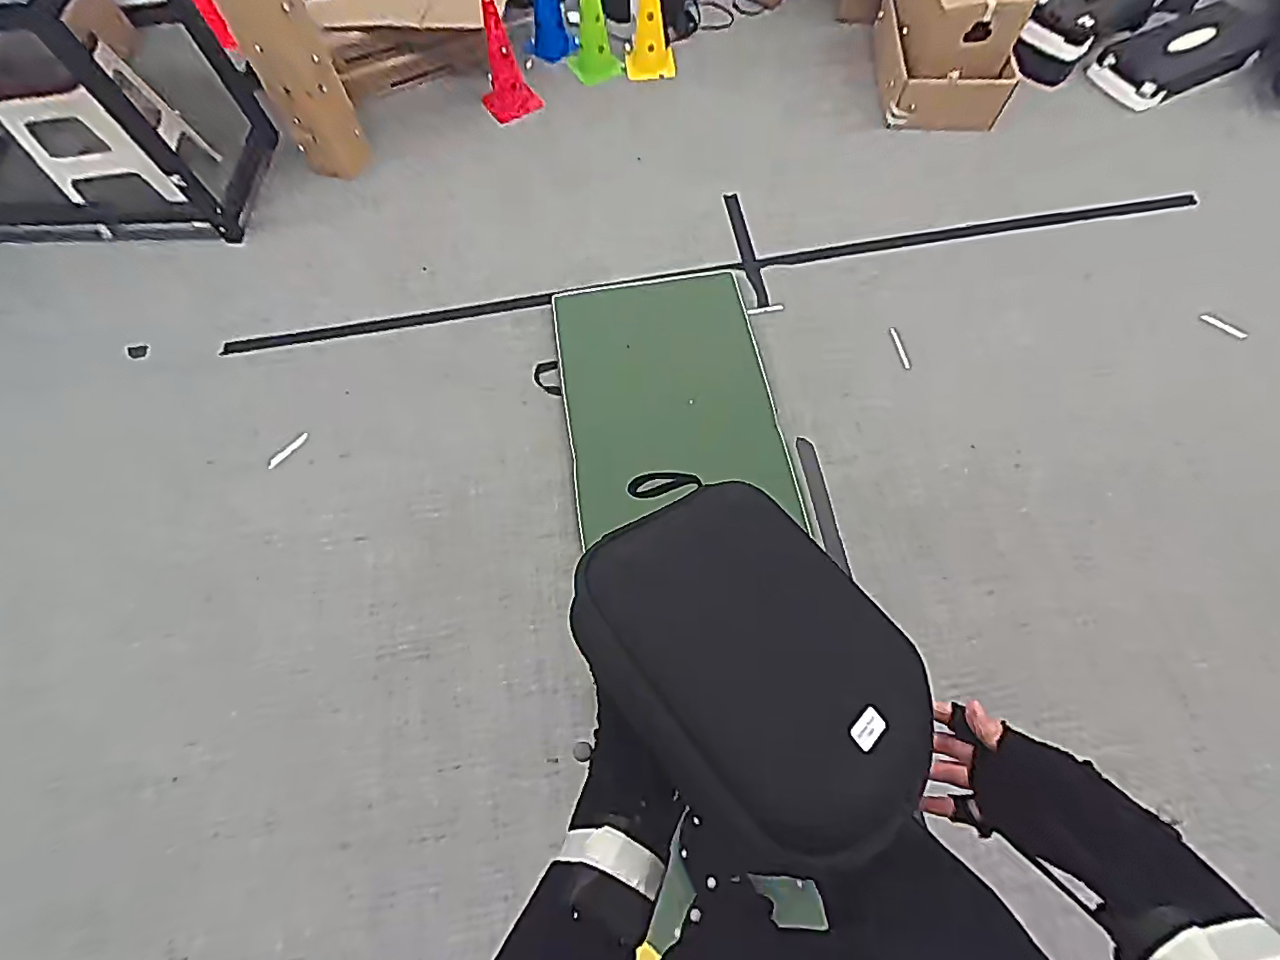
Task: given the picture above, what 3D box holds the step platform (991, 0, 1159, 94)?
[{"bbox_3d":[1.775,-1.849,2.182,0.684,0.204,0.286,-37,71,-12],"label":"step platform"}]
